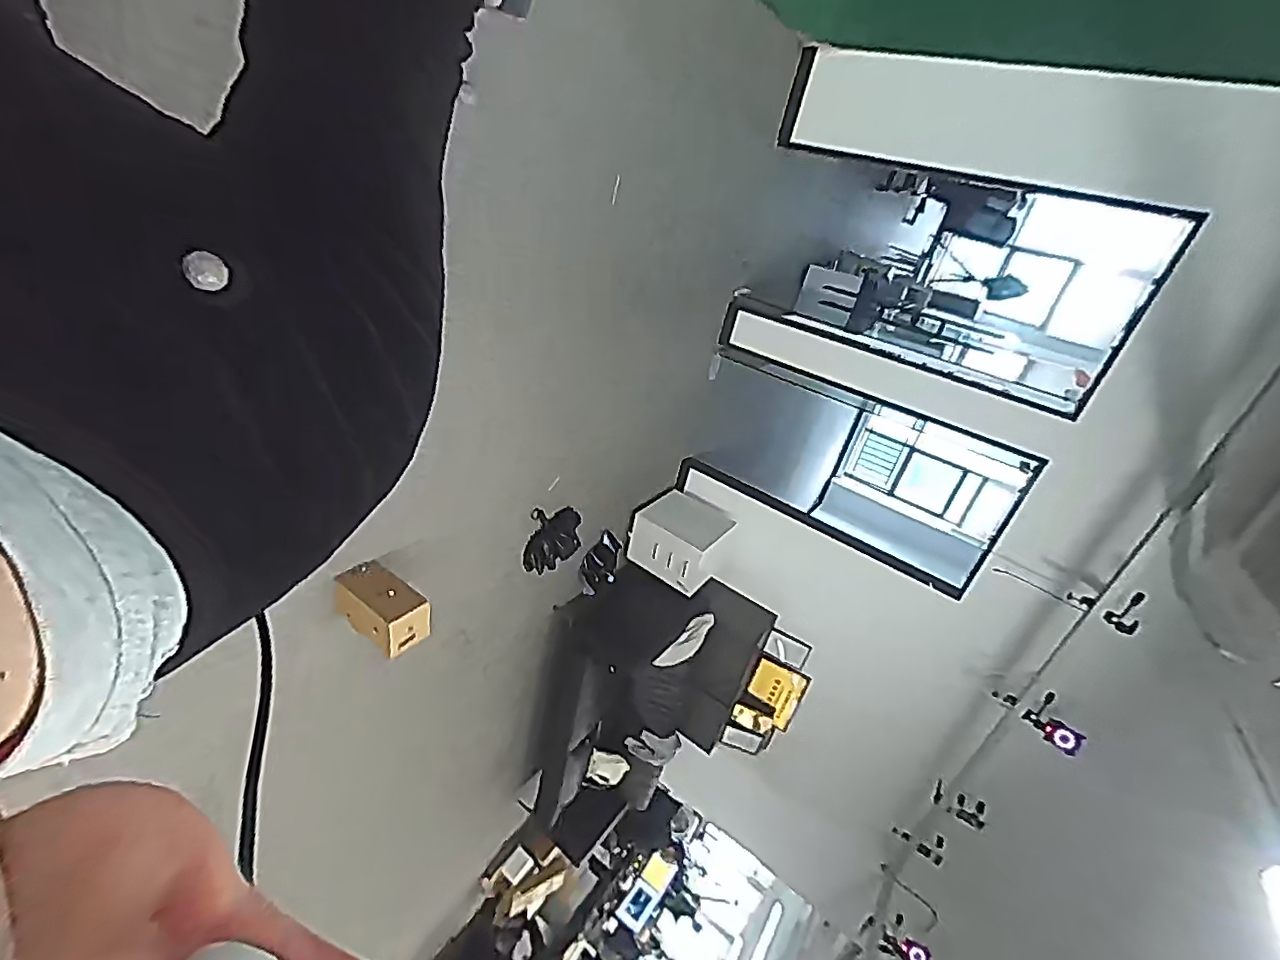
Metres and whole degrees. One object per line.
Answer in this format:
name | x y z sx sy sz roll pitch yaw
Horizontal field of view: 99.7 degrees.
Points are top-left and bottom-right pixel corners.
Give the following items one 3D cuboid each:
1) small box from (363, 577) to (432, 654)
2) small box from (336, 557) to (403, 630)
small box | -0.880 0.486 1.963 0.168 0.176 0.179 -31 141 -50
small box | -1.015 0.422 2.033 0.168 0.176 0.179 -31 140 -50
